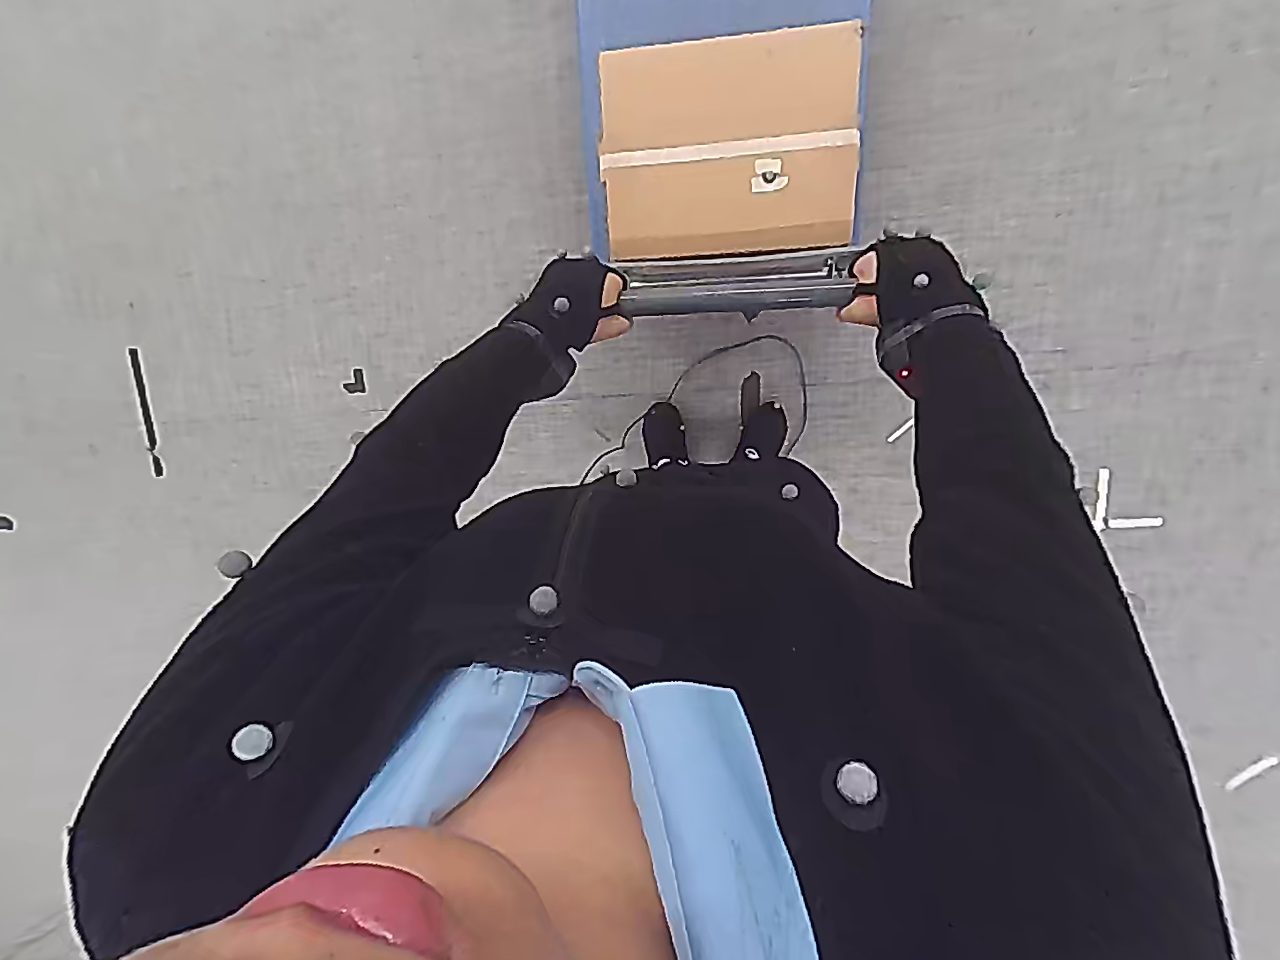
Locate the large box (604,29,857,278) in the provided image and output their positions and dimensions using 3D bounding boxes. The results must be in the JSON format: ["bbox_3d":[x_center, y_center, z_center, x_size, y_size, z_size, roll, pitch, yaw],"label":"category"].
[{"bbox_3d":[0.161,-0.578,1.035,0.408,0.320,0.320,-1,106,7],"label":"large box"}]
